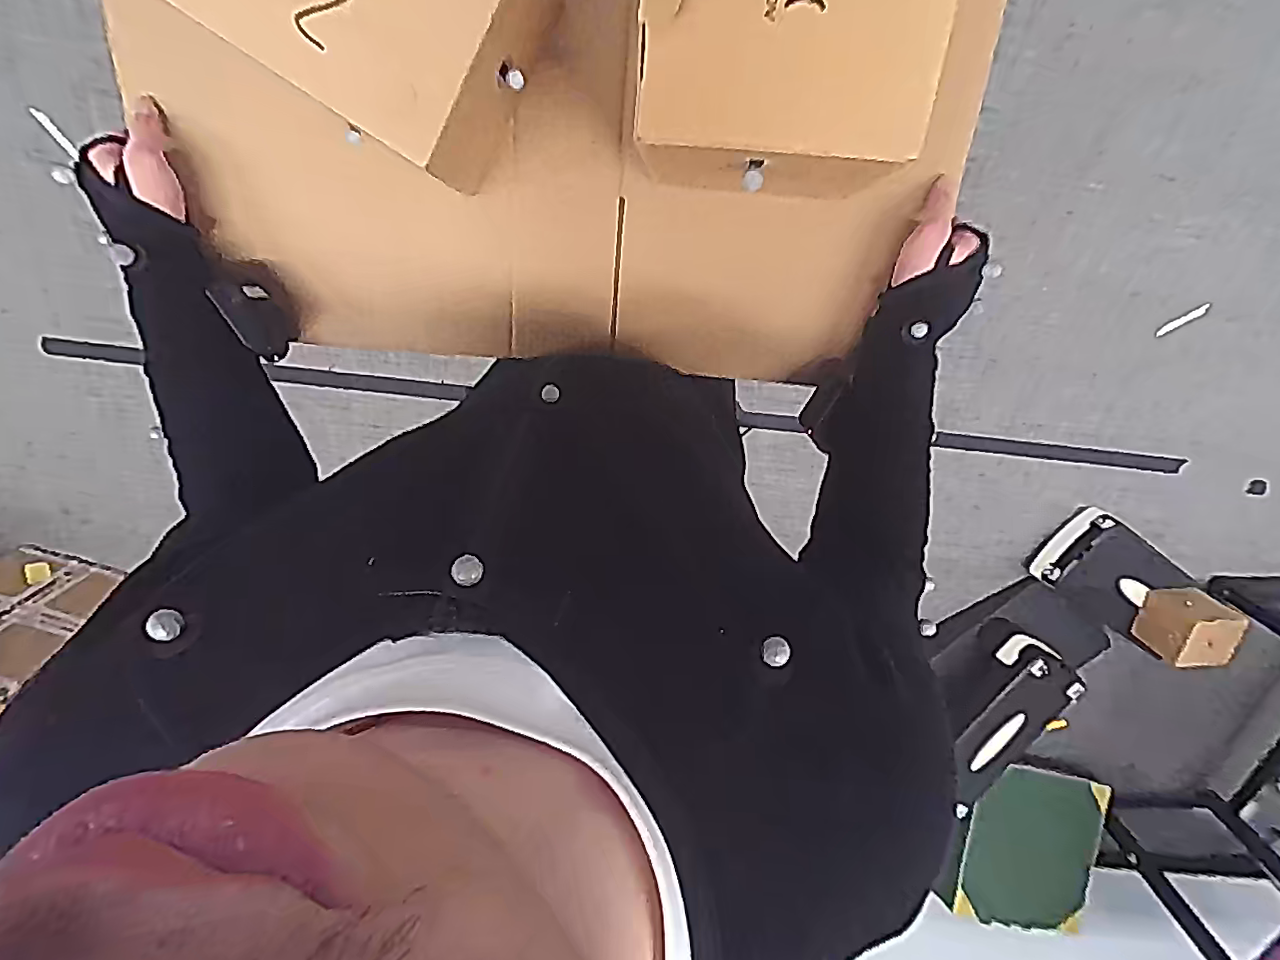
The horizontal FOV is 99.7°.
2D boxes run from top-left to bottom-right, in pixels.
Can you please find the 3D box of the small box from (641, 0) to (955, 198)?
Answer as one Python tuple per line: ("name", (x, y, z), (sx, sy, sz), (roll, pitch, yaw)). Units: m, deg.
("small box", (0.103, -0.308, 0.389), (0.179, 0.176, 0.168), (7, 112, 5))
